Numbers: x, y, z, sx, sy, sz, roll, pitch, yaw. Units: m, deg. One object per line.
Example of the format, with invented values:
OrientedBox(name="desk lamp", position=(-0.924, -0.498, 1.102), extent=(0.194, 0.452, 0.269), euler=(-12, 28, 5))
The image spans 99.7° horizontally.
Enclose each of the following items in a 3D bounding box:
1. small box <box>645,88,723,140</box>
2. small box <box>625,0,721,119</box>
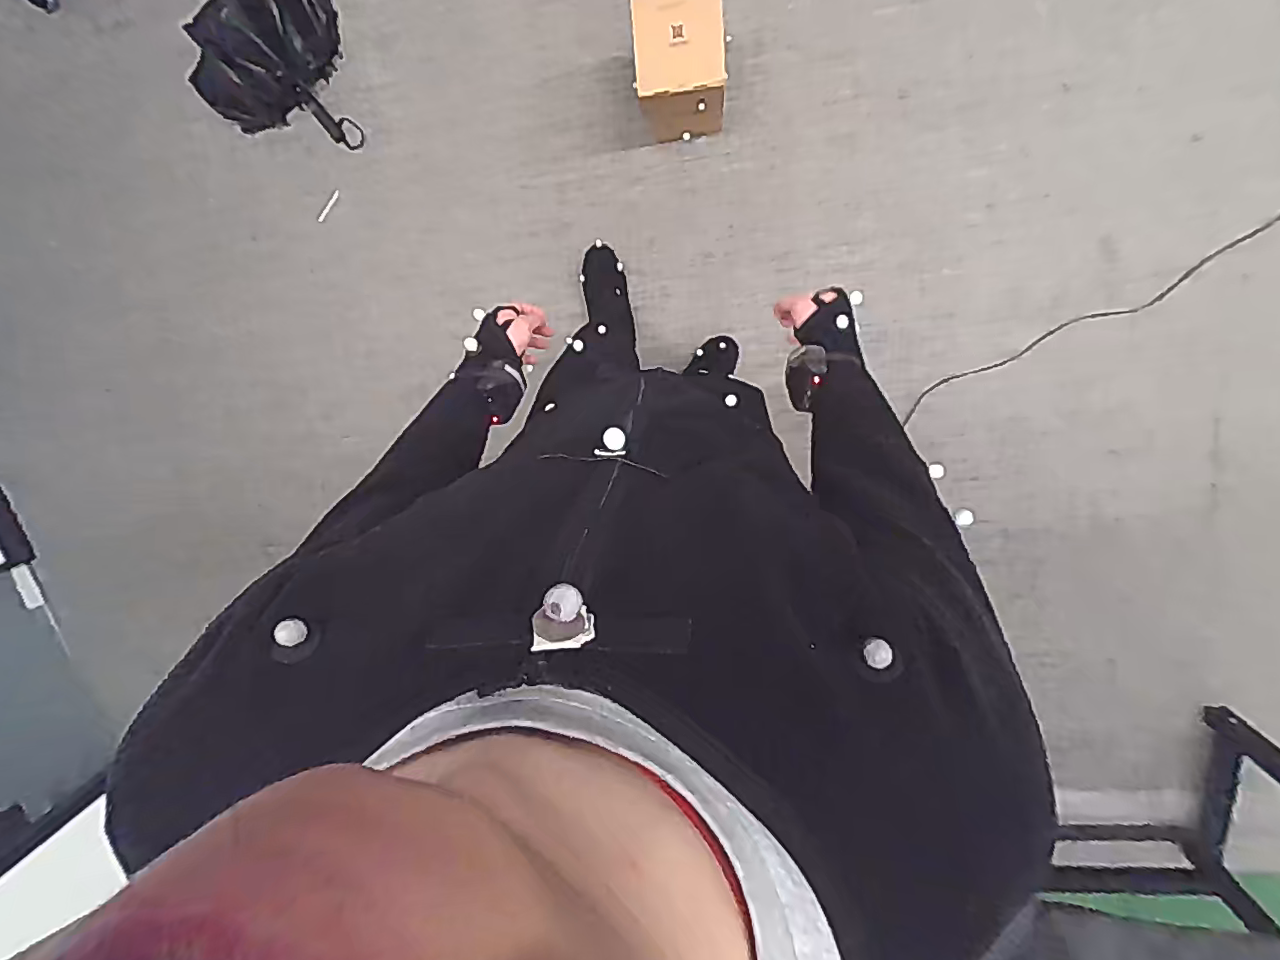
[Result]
OrientedBox(name="small box", position=(0.091, -0.878, 1.188), extent=(0.168, 0.176, 0.179), euler=(-5, 110, 9))
OrientedBox(name="small box", position=(0.071, -0.819, 1.039), extent=(0.168, 0.176, 0.179), euler=(-4, 108, 8))
